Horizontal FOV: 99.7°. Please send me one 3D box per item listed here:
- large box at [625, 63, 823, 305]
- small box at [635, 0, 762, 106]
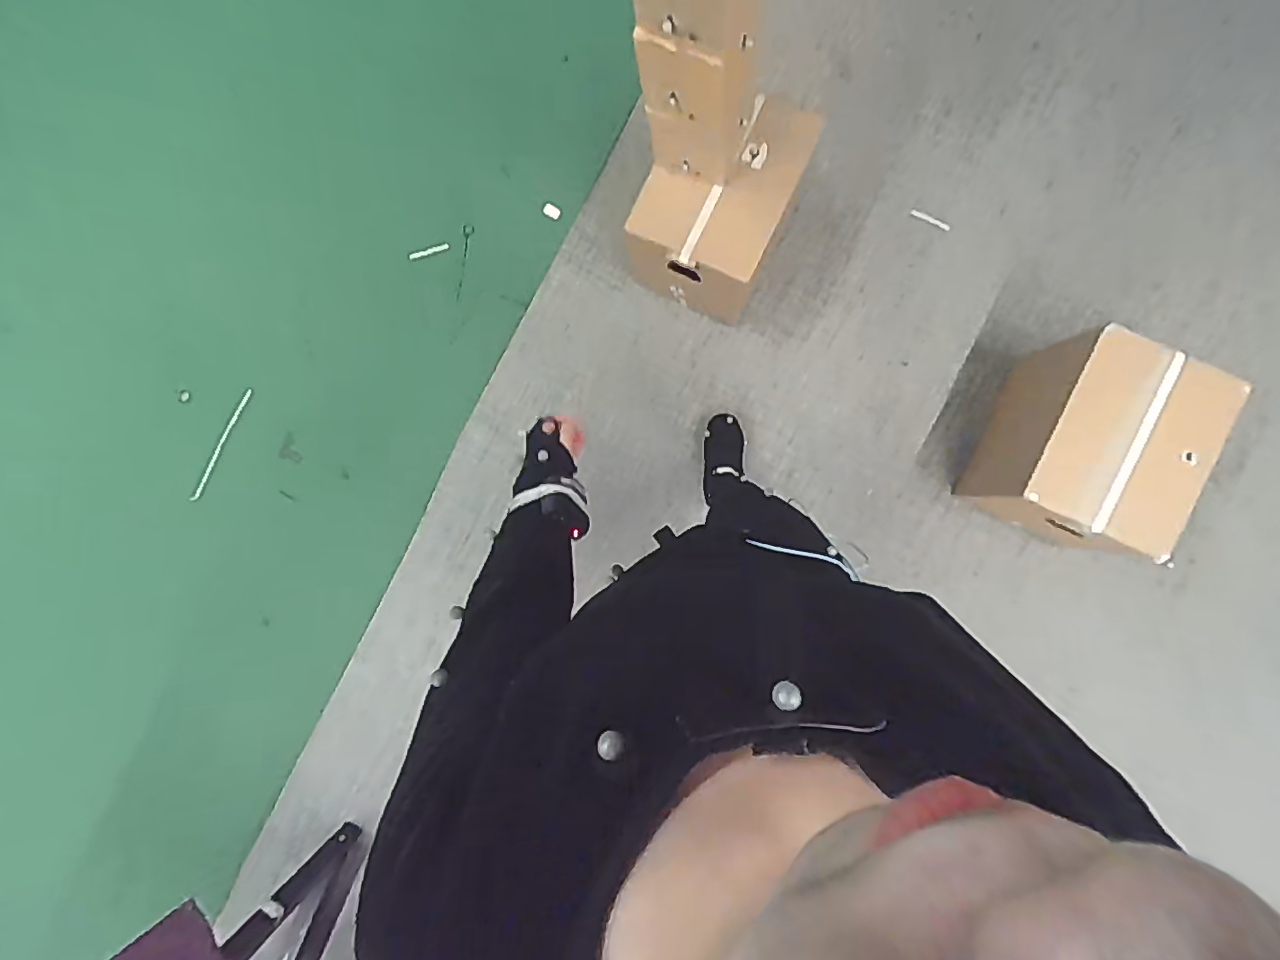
[{"bbox_3d":[0.197,-0.717,1.341,0.320,0.320,0.408,26,91,5],"label":"large box"},{"bbox_3d":[0.108,-0.812,0.942,0.168,0.176,0.179,26,92,8],"label":"small box"}]
